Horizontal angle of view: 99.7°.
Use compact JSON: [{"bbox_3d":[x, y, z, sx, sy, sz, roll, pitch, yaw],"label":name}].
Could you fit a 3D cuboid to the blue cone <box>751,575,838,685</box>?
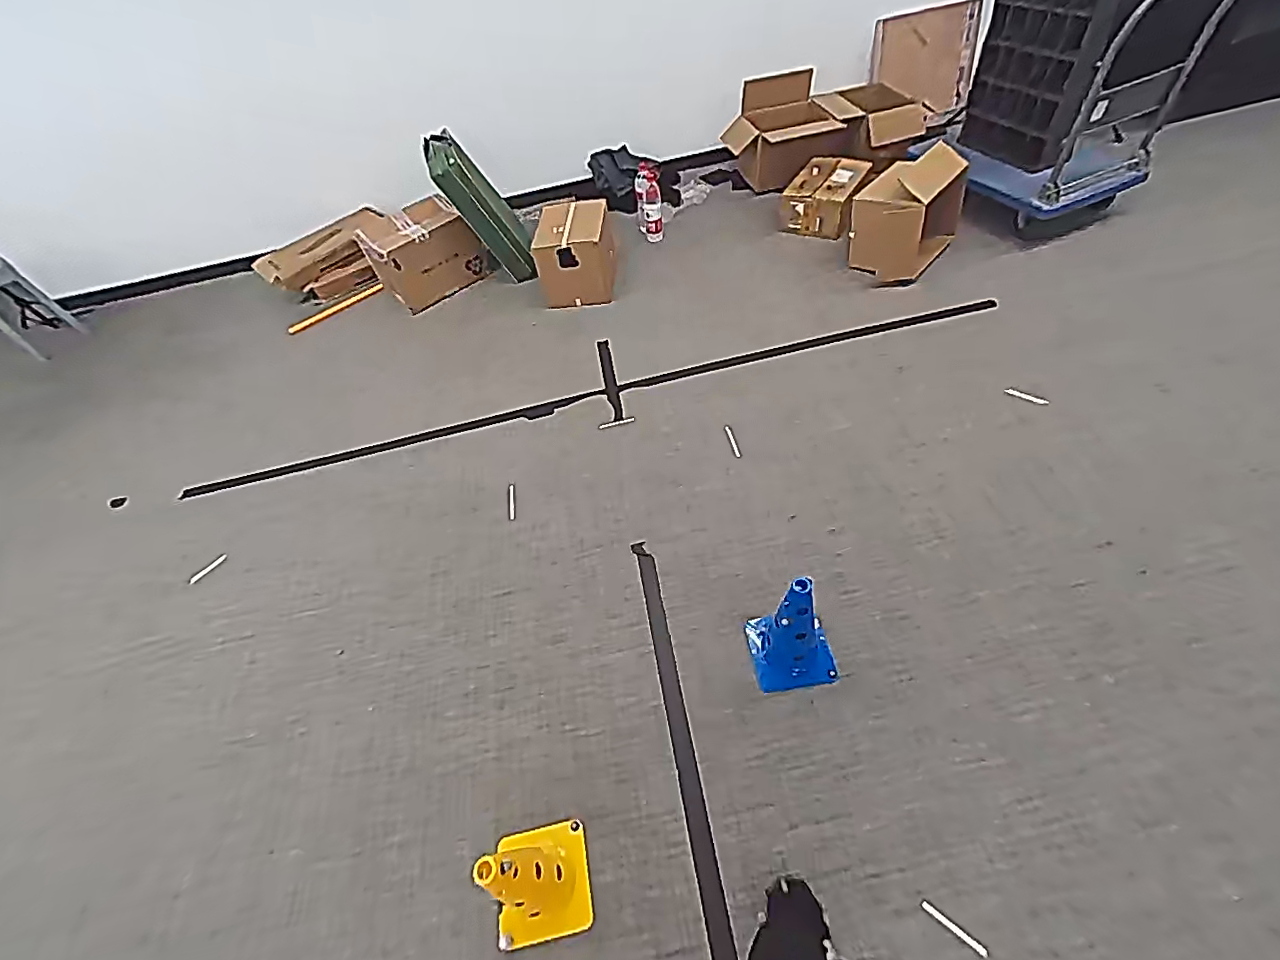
[{"bbox_3d":[0.378,0.336,1.294,0.192,0.380,0.193,-9,50,2],"label":"blue cone"}]
